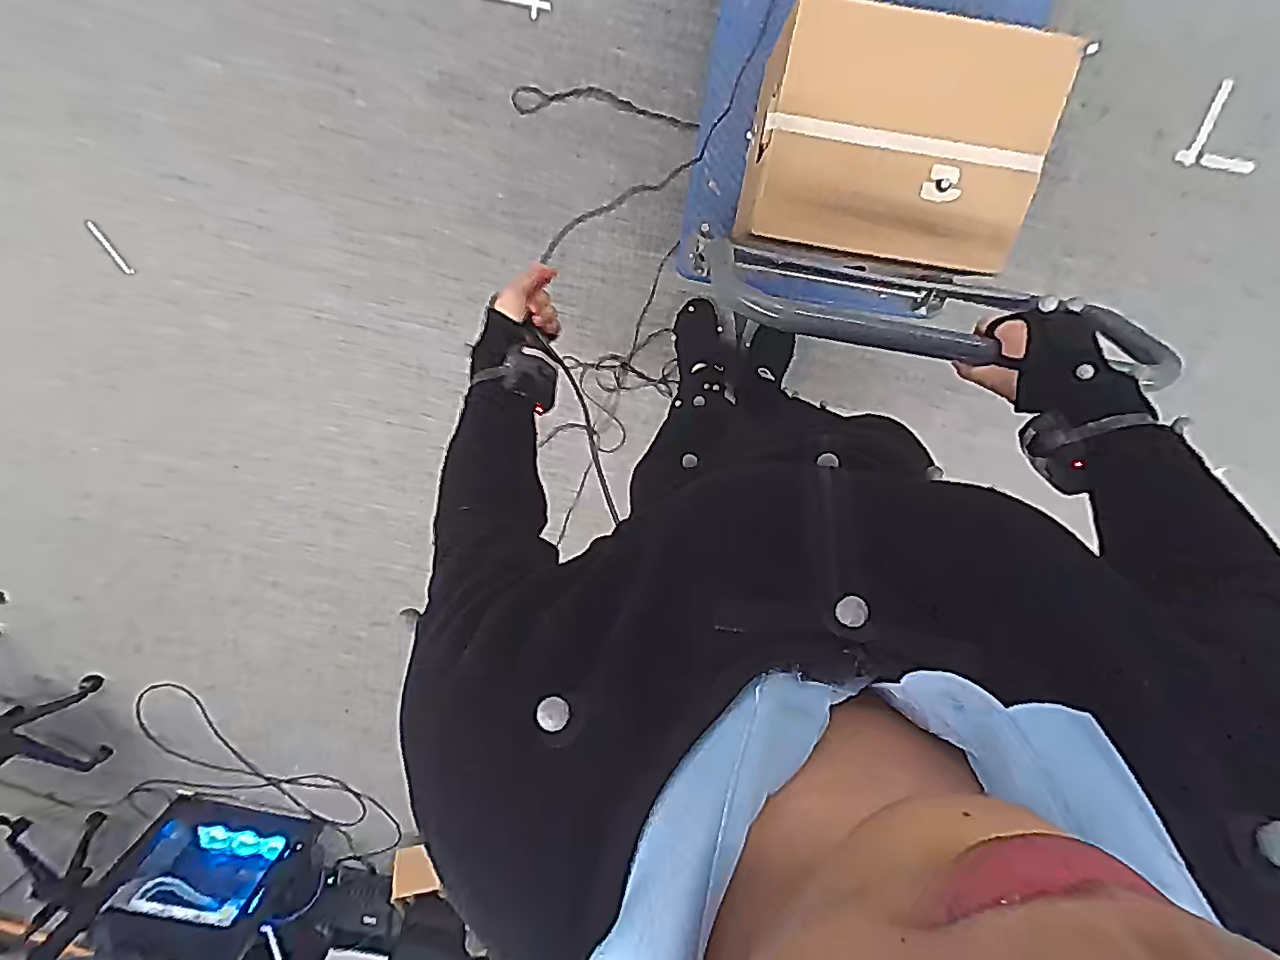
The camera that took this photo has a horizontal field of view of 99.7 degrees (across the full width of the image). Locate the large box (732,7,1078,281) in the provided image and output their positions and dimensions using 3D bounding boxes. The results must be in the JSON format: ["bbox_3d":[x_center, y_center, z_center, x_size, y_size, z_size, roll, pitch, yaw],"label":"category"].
[{"bbox_3d":[0.398,-0.538,0.940,0.408,0.320,0.320,9,112,-1],"label":"large box"}]
